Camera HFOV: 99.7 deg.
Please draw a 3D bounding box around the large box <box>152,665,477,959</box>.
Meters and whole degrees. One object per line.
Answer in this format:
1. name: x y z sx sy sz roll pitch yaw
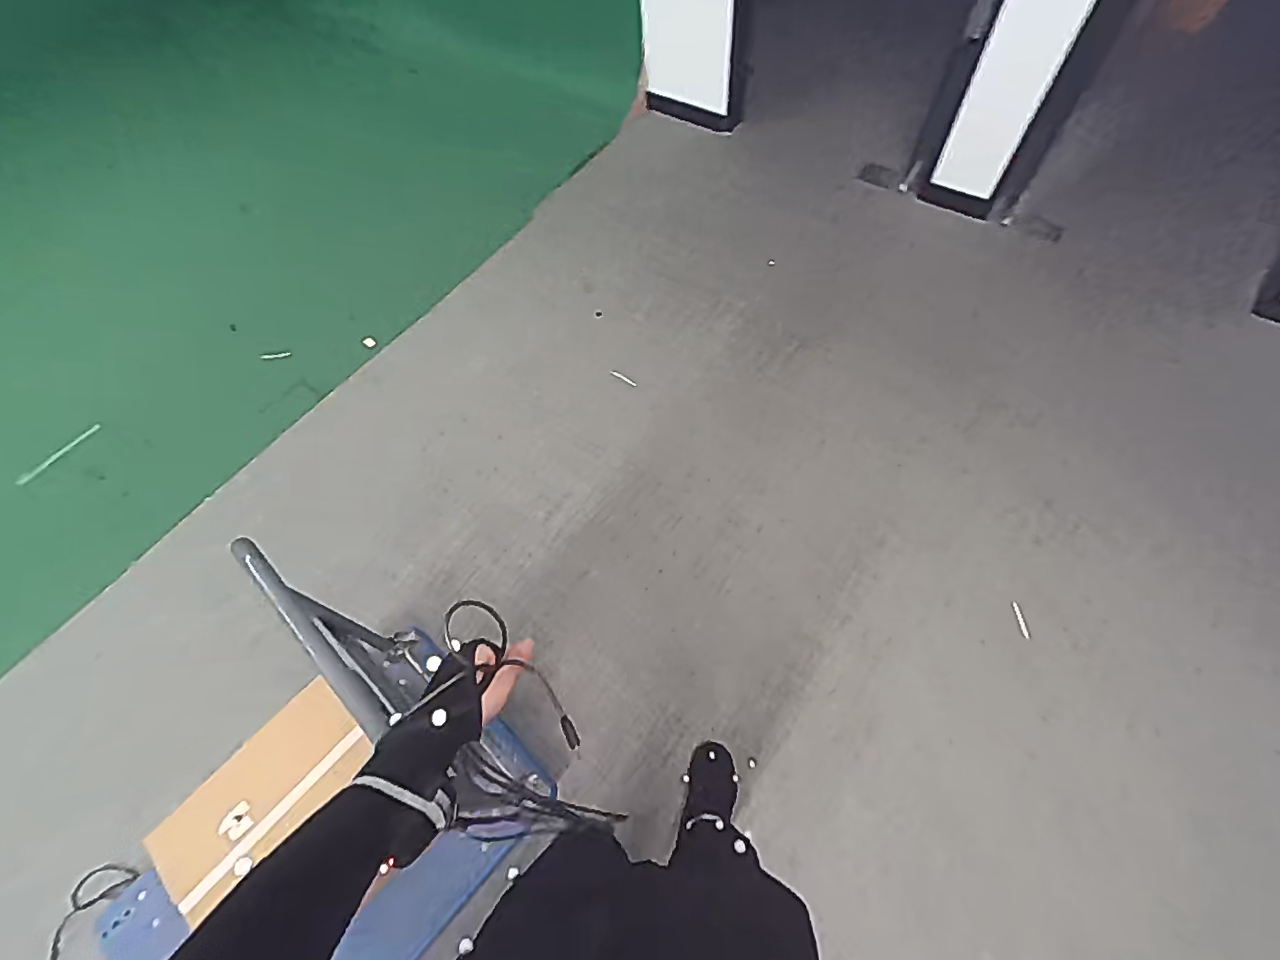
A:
1. large box: -0.620 0.652 1.102 0.320 0.320 0.408 37 72 21
